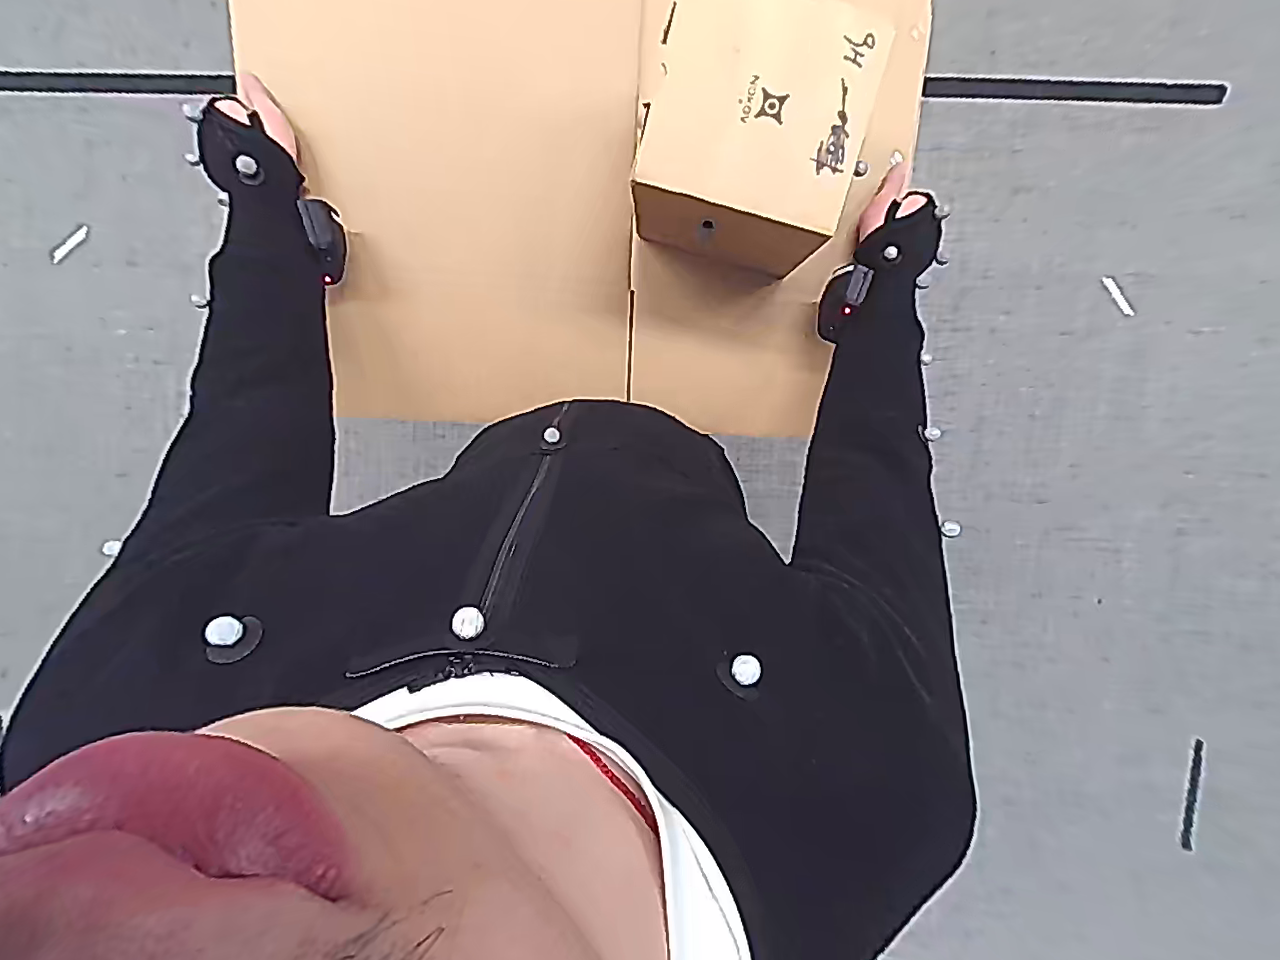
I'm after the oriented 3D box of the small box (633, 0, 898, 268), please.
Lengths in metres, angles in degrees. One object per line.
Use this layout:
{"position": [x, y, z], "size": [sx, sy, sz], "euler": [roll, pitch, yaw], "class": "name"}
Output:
{"position": [0.102, -0.319, 0.515], "size": [0.179, 0.176, 0.168], "euler": [16, 99, 0], "class": "small box"}
